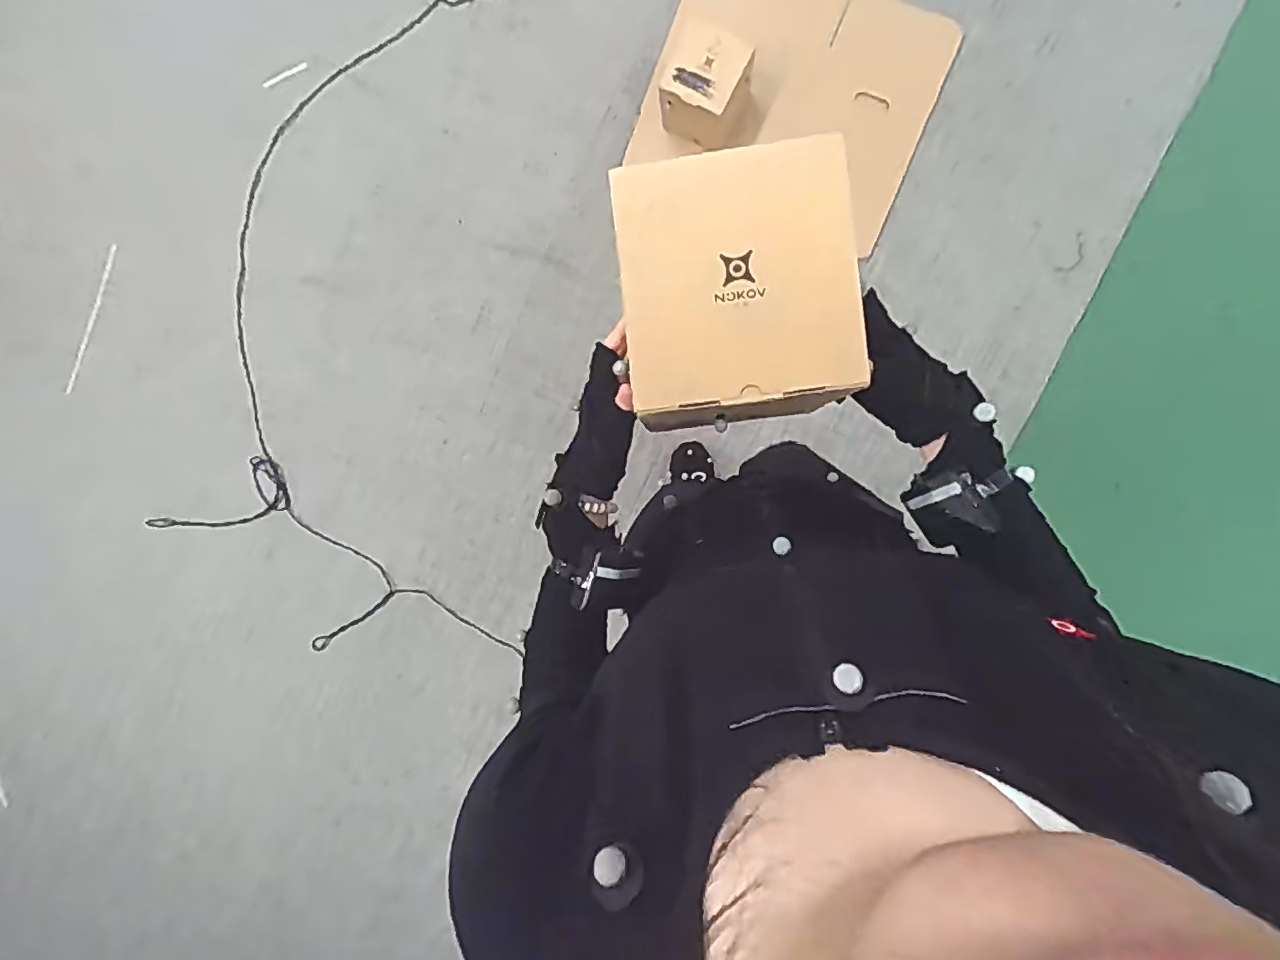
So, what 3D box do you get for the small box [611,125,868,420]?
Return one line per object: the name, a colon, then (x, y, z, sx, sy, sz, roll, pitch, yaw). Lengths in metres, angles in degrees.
small box: (0.072, -0.151, 0.455, 0.168, 0.176, 0.179, -7, 92, 4)
